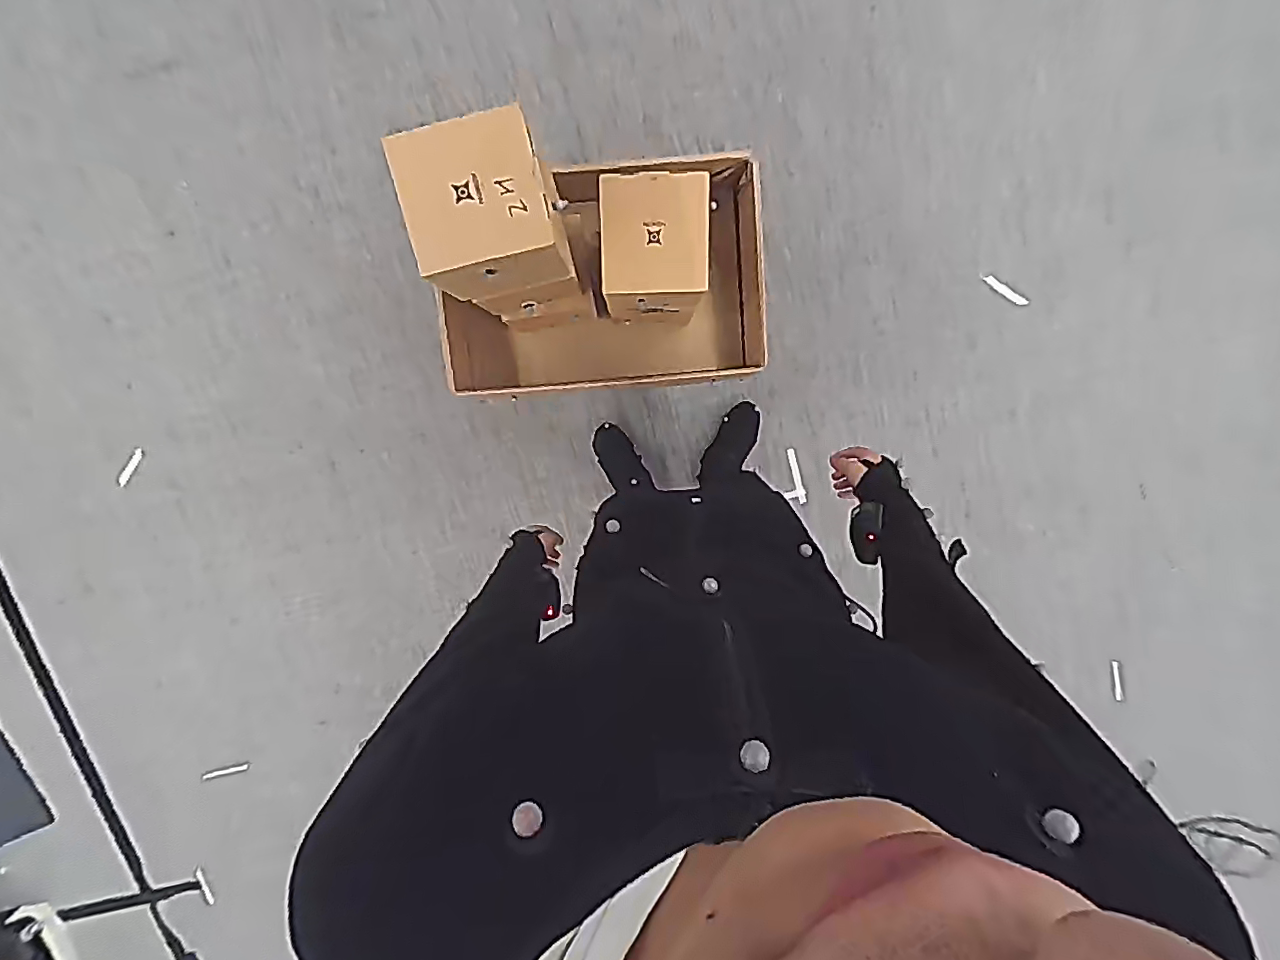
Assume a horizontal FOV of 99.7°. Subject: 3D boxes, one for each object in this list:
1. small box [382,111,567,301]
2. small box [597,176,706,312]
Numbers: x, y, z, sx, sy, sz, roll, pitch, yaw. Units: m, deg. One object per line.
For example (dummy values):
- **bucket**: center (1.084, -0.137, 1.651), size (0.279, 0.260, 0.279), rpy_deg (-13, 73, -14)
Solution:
- **small box**: center (-0.209, -0.353, 0.733), size (0.179, 0.176, 0.168), rpy_deg (-13, 99, 1)
- **small box**: center (0.020, -0.379, 0.900), size (0.168, 0.176, 0.179), rpy_deg (-1, 98, 1)
